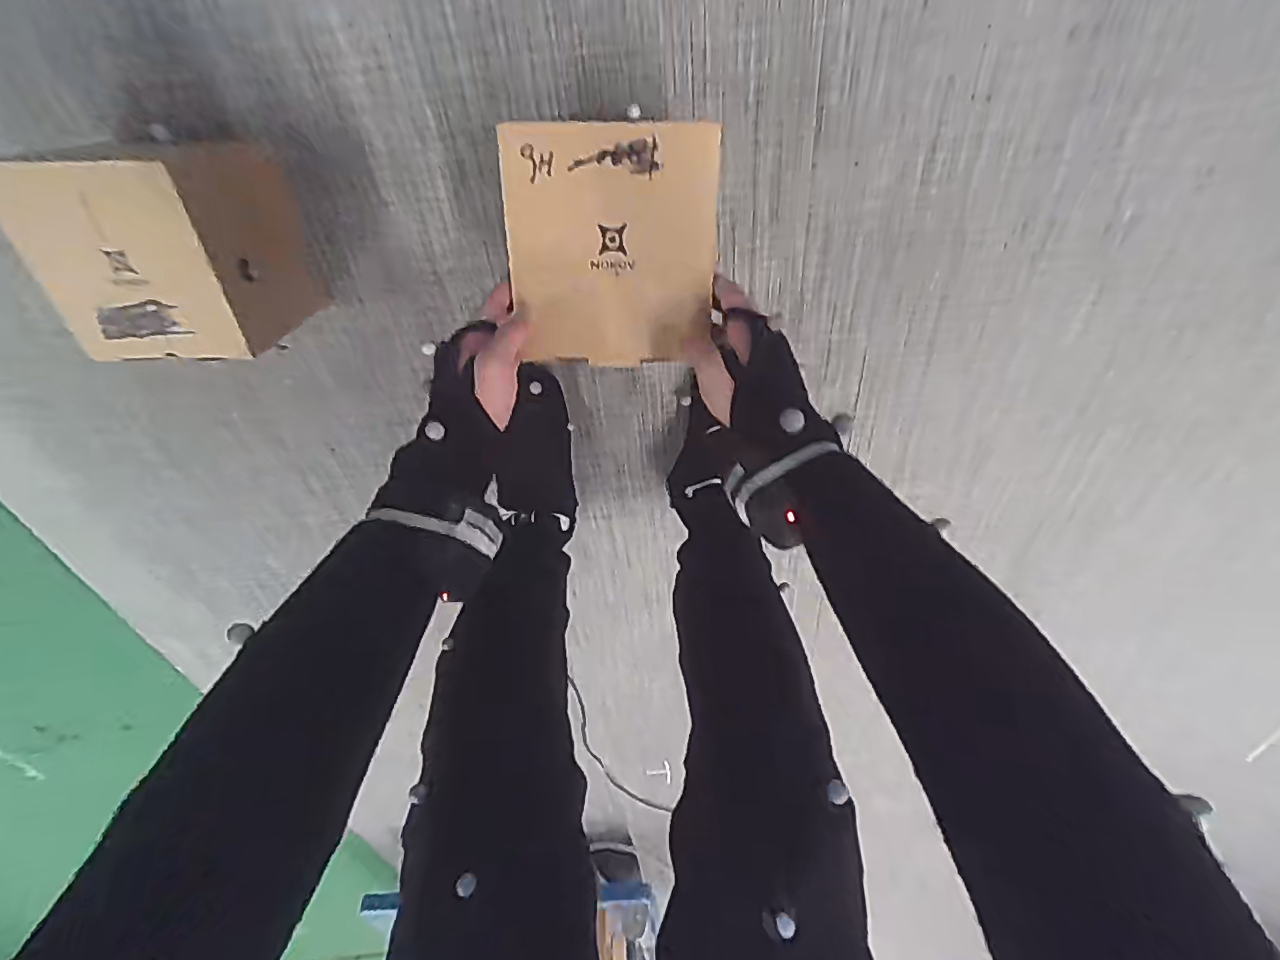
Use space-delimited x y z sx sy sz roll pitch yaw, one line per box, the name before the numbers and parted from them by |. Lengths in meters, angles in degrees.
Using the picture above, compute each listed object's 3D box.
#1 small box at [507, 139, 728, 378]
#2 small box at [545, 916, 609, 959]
small box | -0.017 -0.202 0.502 0.168 0.176 0.179 0 114 0
small box | -0.179 1.378 1.553 0.179 0.176 0.168 -2 127 1
